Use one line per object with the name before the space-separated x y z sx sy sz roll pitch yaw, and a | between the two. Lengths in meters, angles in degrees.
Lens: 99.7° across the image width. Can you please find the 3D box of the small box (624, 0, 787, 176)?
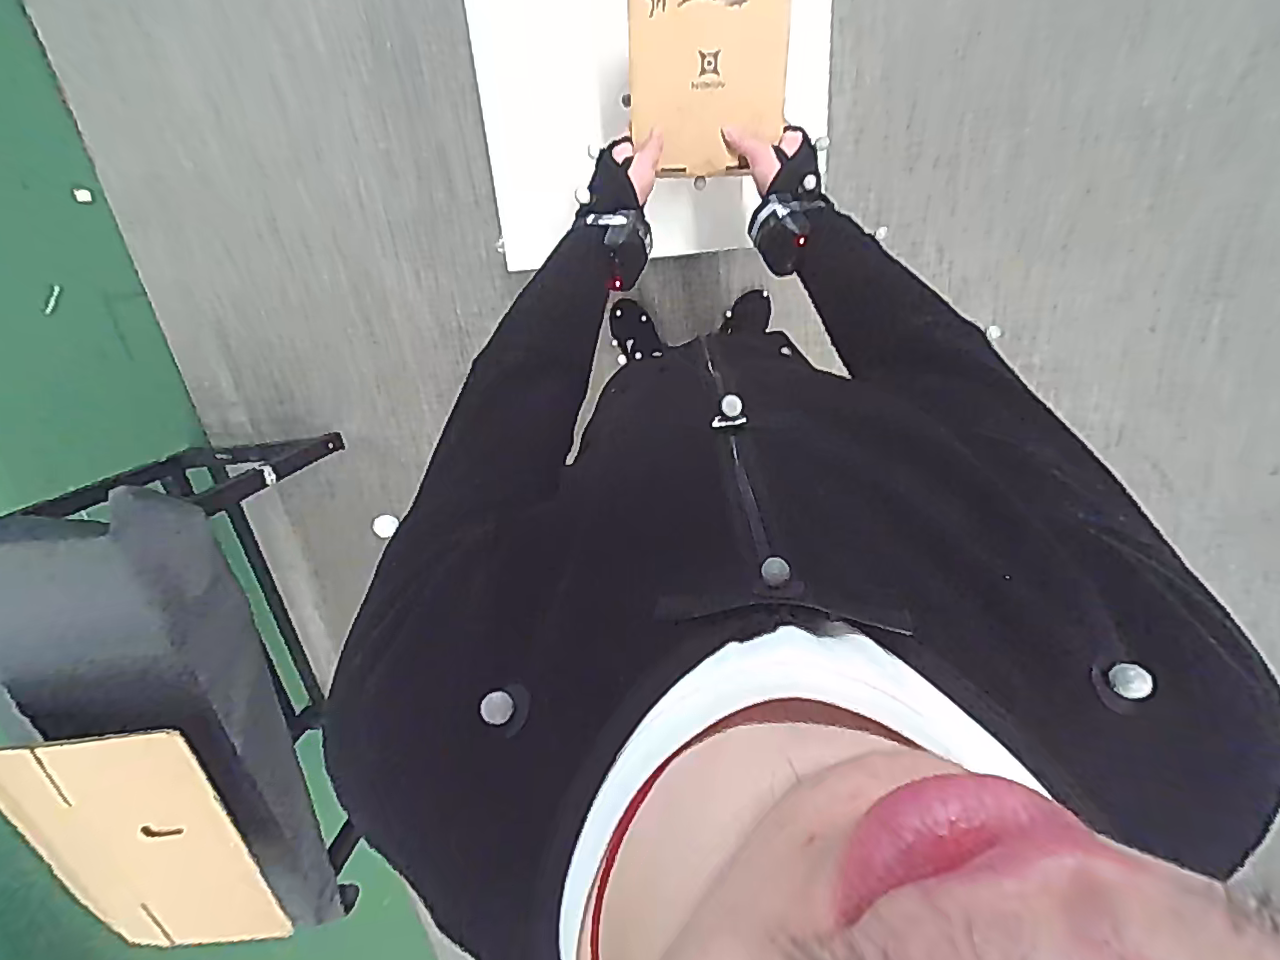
small box | 0.073 -0.464 0.640 0.168 0.176 0.179 -2 116 4
